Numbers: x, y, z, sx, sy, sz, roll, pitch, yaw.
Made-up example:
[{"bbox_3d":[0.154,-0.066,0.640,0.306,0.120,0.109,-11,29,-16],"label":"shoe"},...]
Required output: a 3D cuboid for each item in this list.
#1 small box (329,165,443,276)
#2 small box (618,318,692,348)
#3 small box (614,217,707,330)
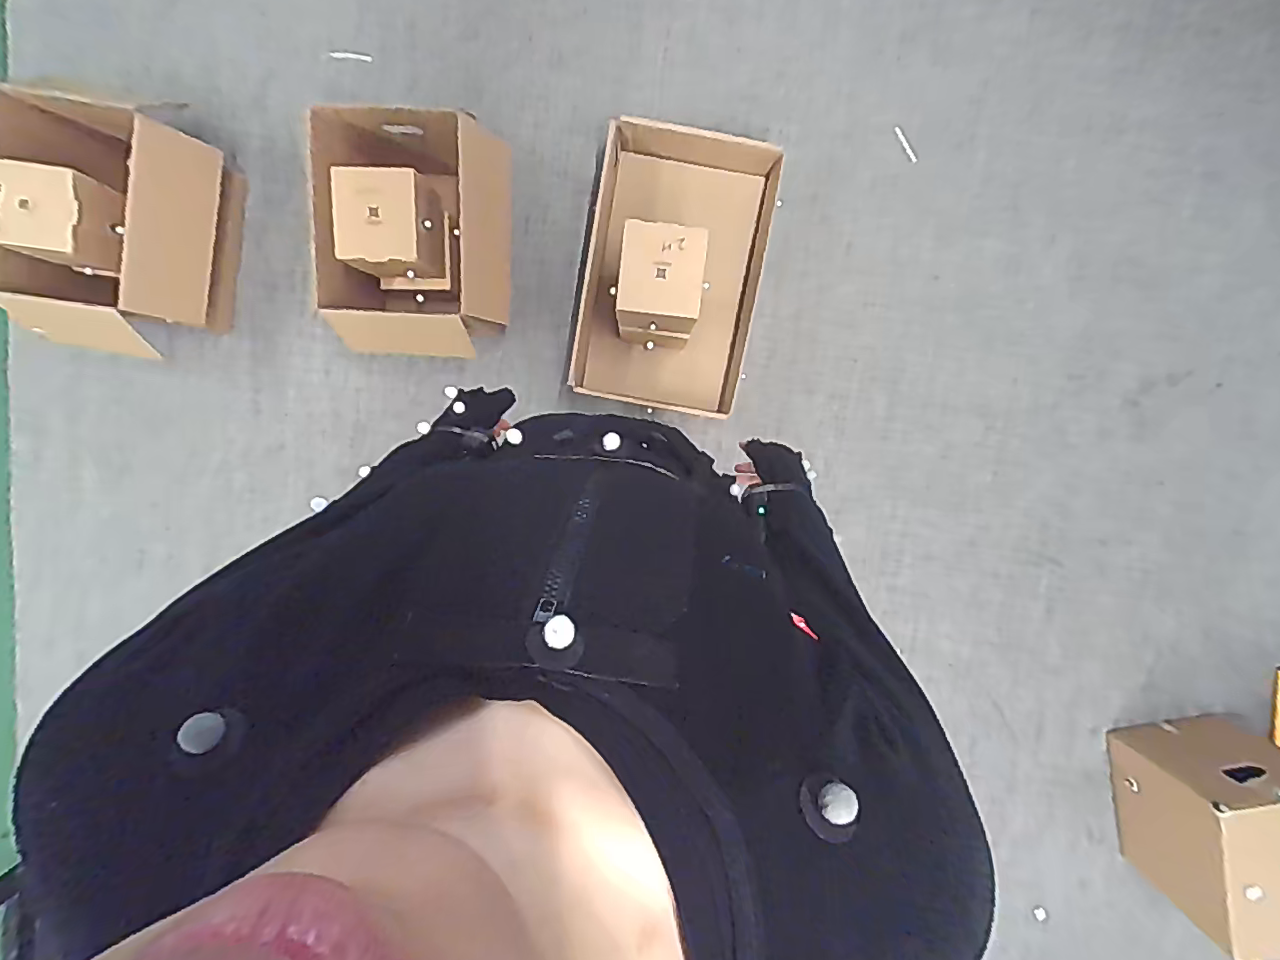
[{"bbox_3d":[-0.526,-0.537,1.142,0.168,0.176,0.179,1,99,0],"label":"small box"},{"bbox_3d":[0.043,-0.425,1.284,0.168,0.176,0.179,9,96,-1],"label":"small box"},{"bbox_3d":[0.040,-0.417,1.120,0.168,0.176,0.179,6,95,-1],"label":"small box"}]
